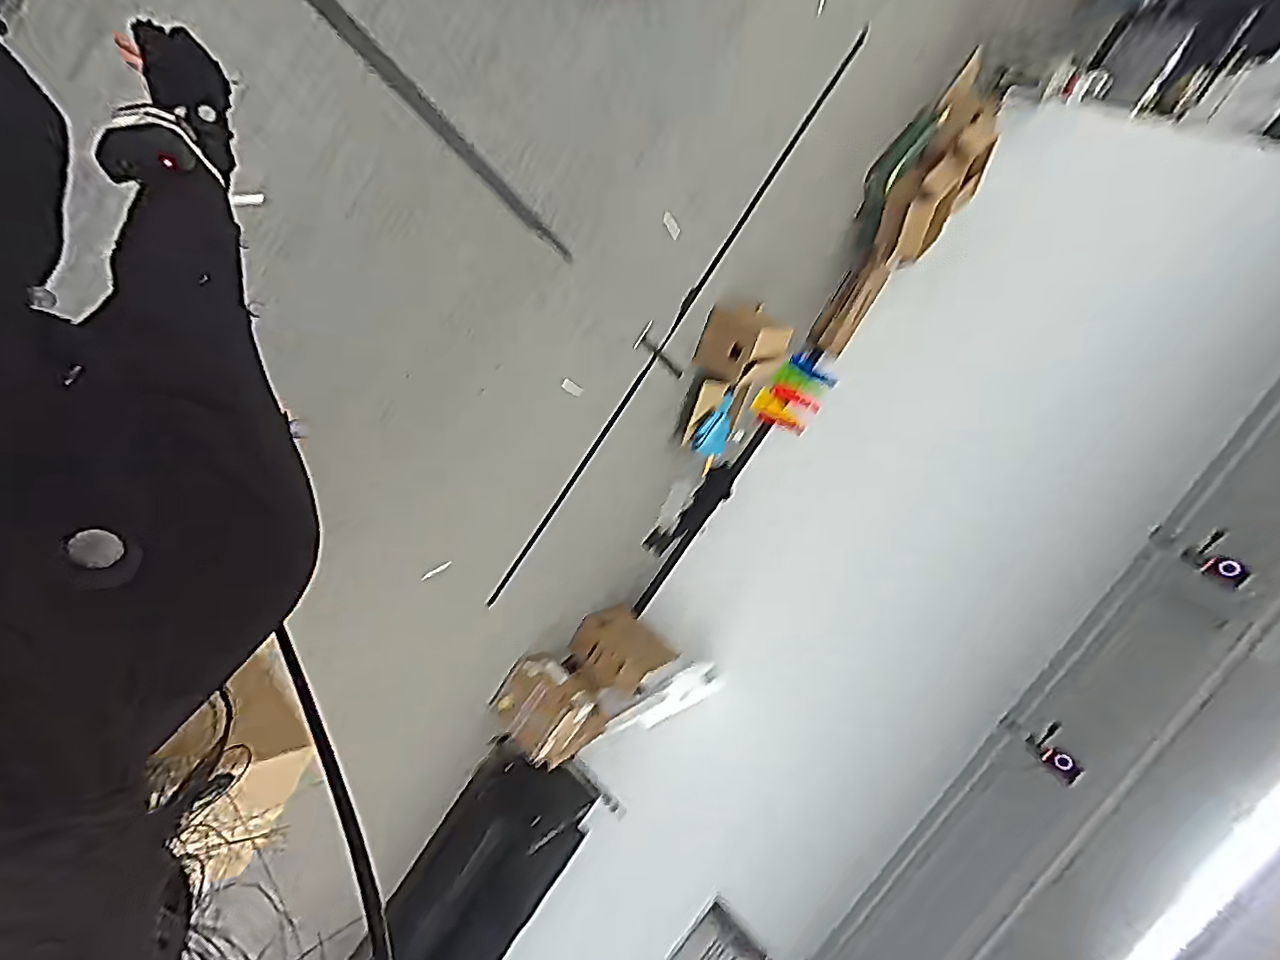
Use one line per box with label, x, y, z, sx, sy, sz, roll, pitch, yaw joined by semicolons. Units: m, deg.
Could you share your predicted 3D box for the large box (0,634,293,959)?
large box;-0.862;0.472;0.833;0.320;0.320;0.408;-57;154;7
